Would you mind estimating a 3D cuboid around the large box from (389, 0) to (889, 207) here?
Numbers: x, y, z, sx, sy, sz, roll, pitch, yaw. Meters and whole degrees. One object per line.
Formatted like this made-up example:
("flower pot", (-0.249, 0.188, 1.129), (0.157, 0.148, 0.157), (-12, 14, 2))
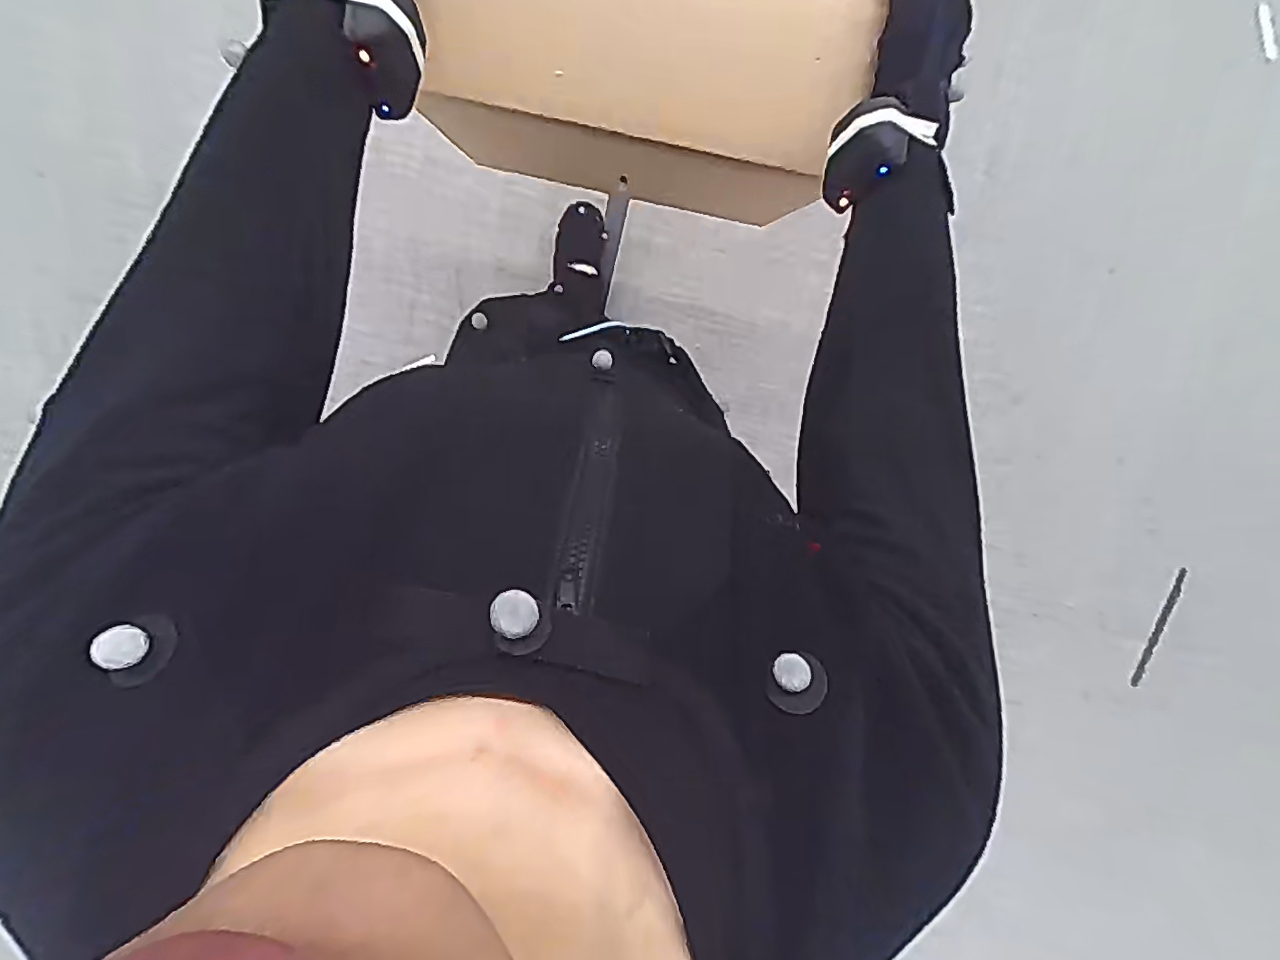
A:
("large box", (0.012, -0.501, 0.555), (0.408, 0.320, 0.320), (10, 108, -5))
